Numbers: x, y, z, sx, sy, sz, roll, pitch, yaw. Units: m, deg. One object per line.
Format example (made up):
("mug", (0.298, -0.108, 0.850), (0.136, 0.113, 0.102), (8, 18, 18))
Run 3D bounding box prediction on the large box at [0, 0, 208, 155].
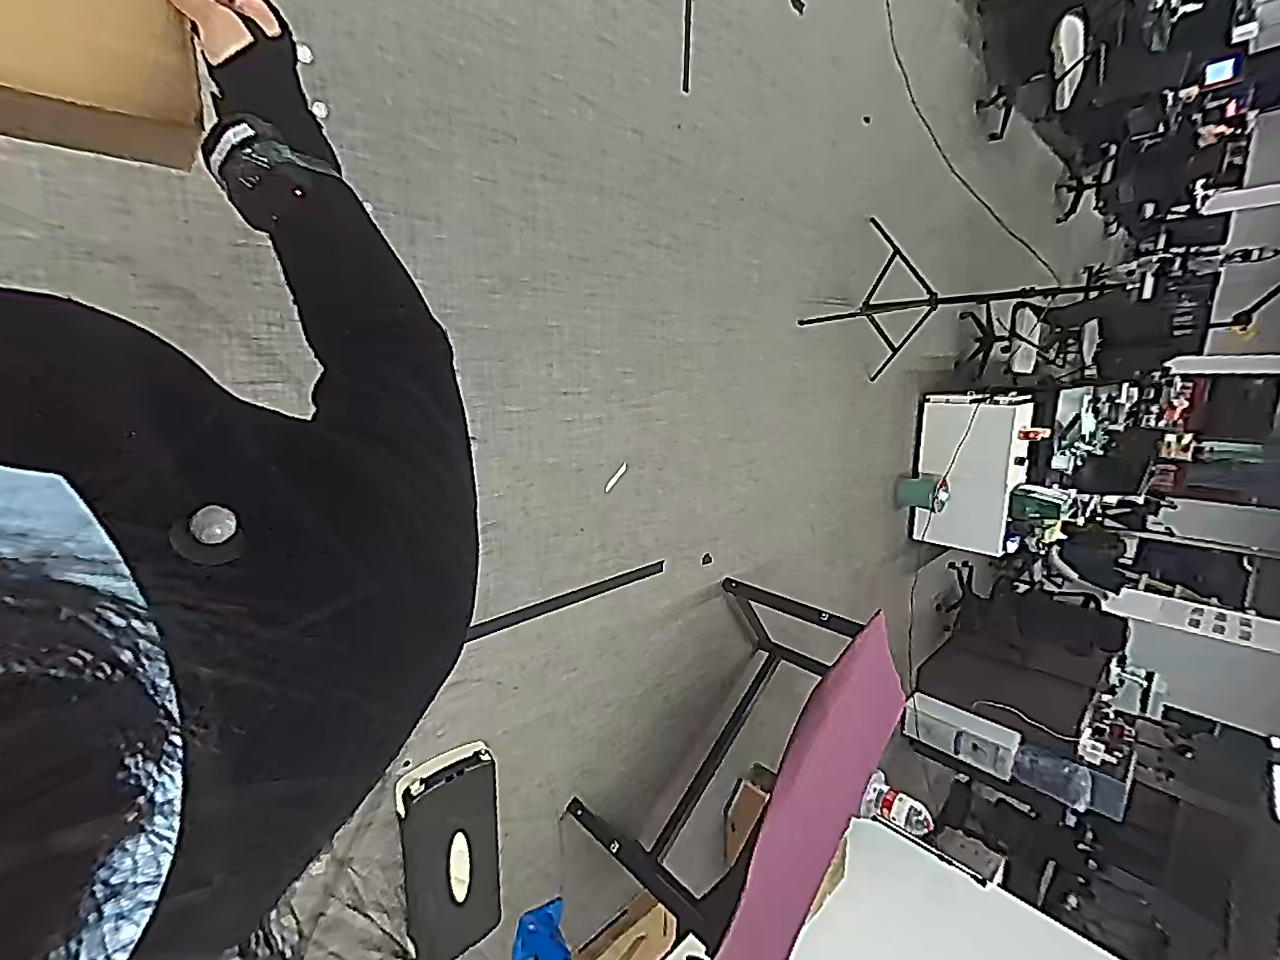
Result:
("large box", (-0.597, -0.468, 0.394), (0.408, 0.320, 0.320), (-8, 112, -38))
